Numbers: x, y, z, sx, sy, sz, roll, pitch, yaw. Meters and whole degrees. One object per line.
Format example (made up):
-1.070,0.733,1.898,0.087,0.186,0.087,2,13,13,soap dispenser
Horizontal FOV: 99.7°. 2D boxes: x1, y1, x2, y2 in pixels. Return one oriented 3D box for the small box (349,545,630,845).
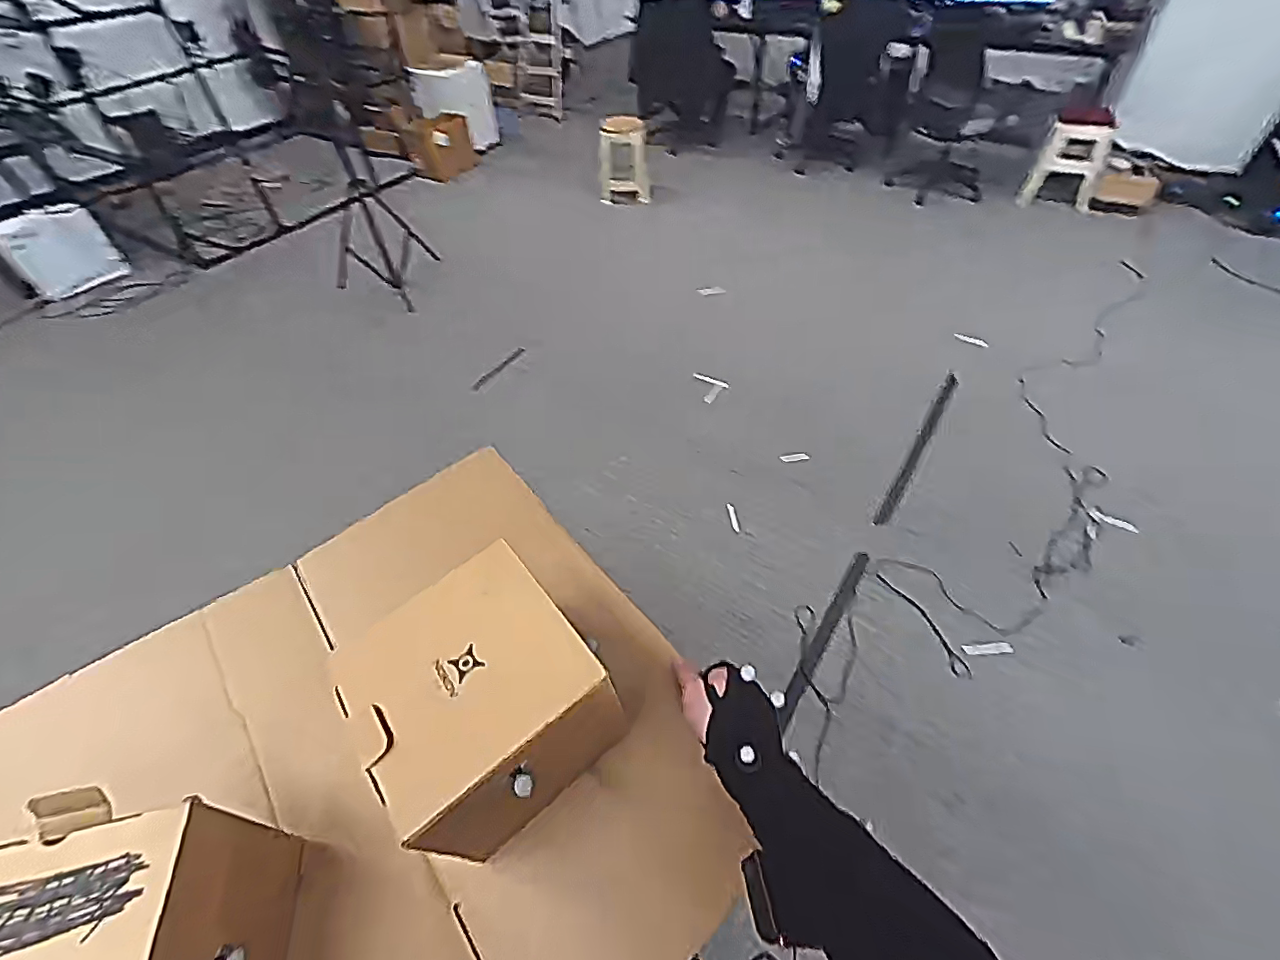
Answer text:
-0.123,0.201,0.504,0.179,0.176,0.168,-35,57,-18,small box
